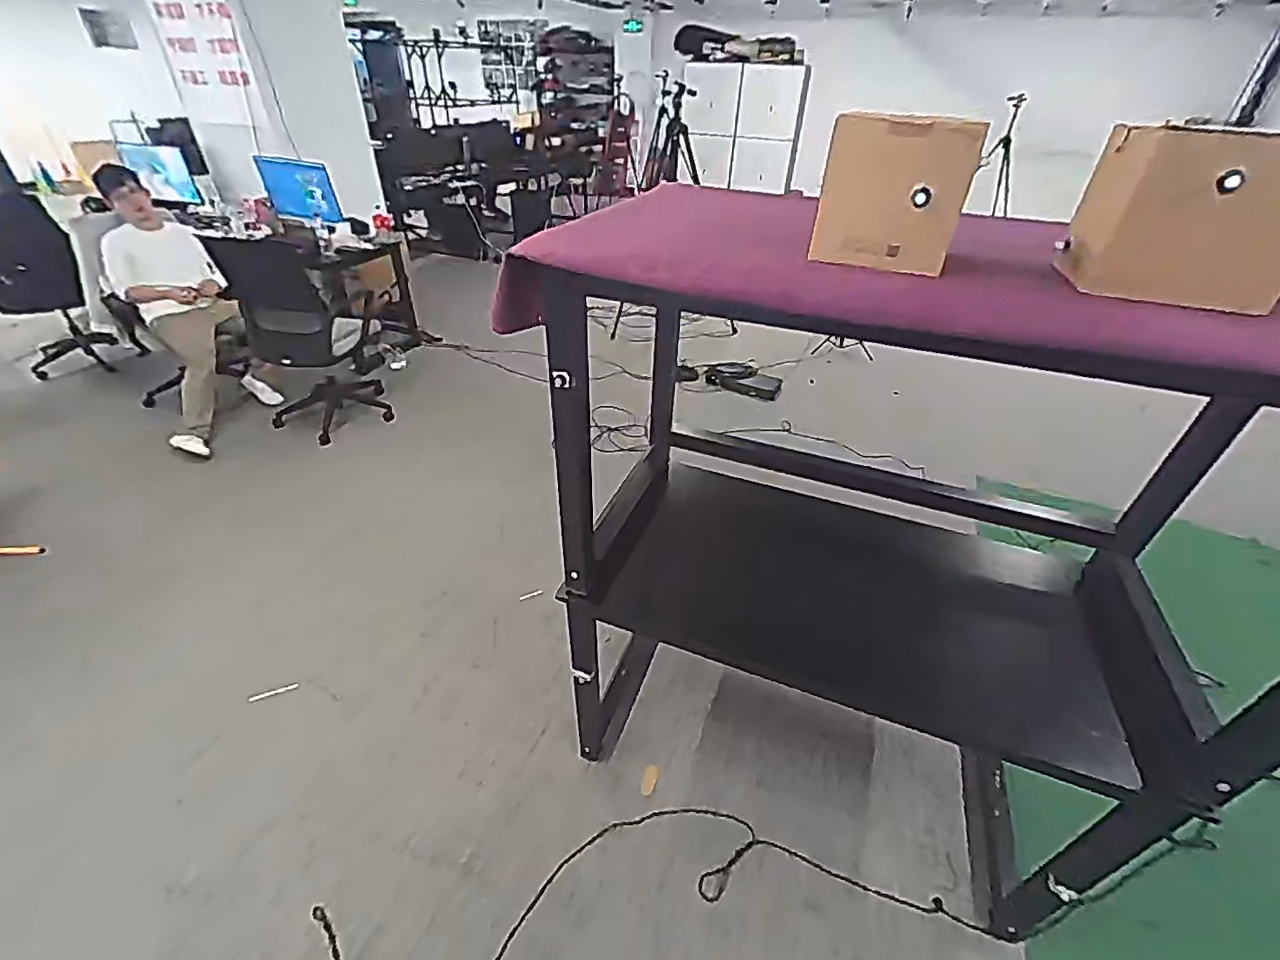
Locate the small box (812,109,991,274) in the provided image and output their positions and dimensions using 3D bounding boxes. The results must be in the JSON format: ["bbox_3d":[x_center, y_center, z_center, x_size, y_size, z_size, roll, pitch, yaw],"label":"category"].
[{"bbox_3d":[0.338,-0.383,0.714,0.168,0.176,0.179,19,39,21],"label":"small box"}]

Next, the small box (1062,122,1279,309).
[{"bbox_3d":[0.628,-0.308,0.623,0.179,0.176,0.168,15,38,16],"label":"small box"}]
